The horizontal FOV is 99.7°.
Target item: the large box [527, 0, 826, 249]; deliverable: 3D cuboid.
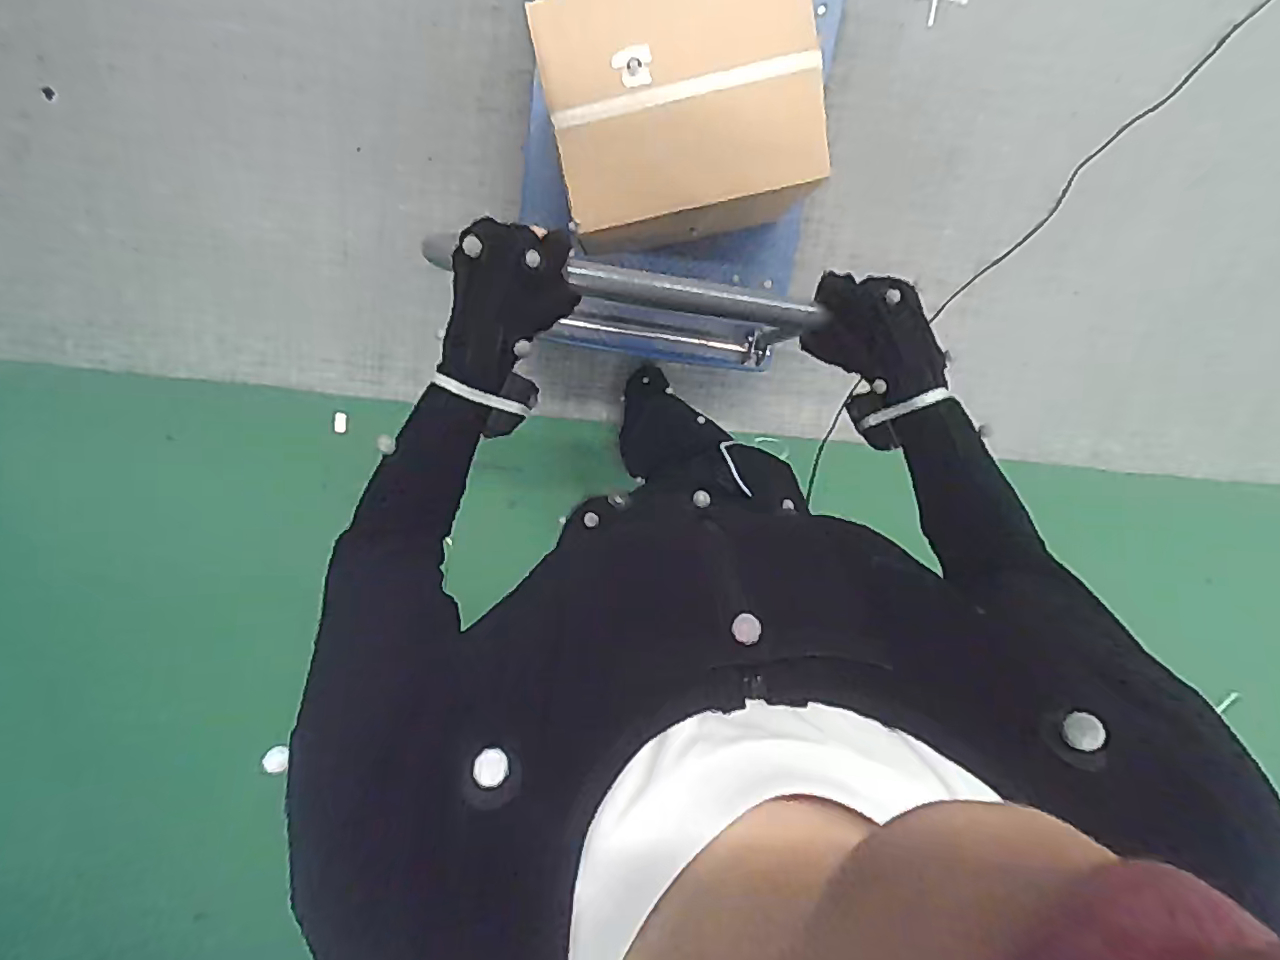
[{"bbox_3d":[0.062,-0.622,0.939,0.408,0.320,0.320,-11,105,2],"label":"large box"}]
